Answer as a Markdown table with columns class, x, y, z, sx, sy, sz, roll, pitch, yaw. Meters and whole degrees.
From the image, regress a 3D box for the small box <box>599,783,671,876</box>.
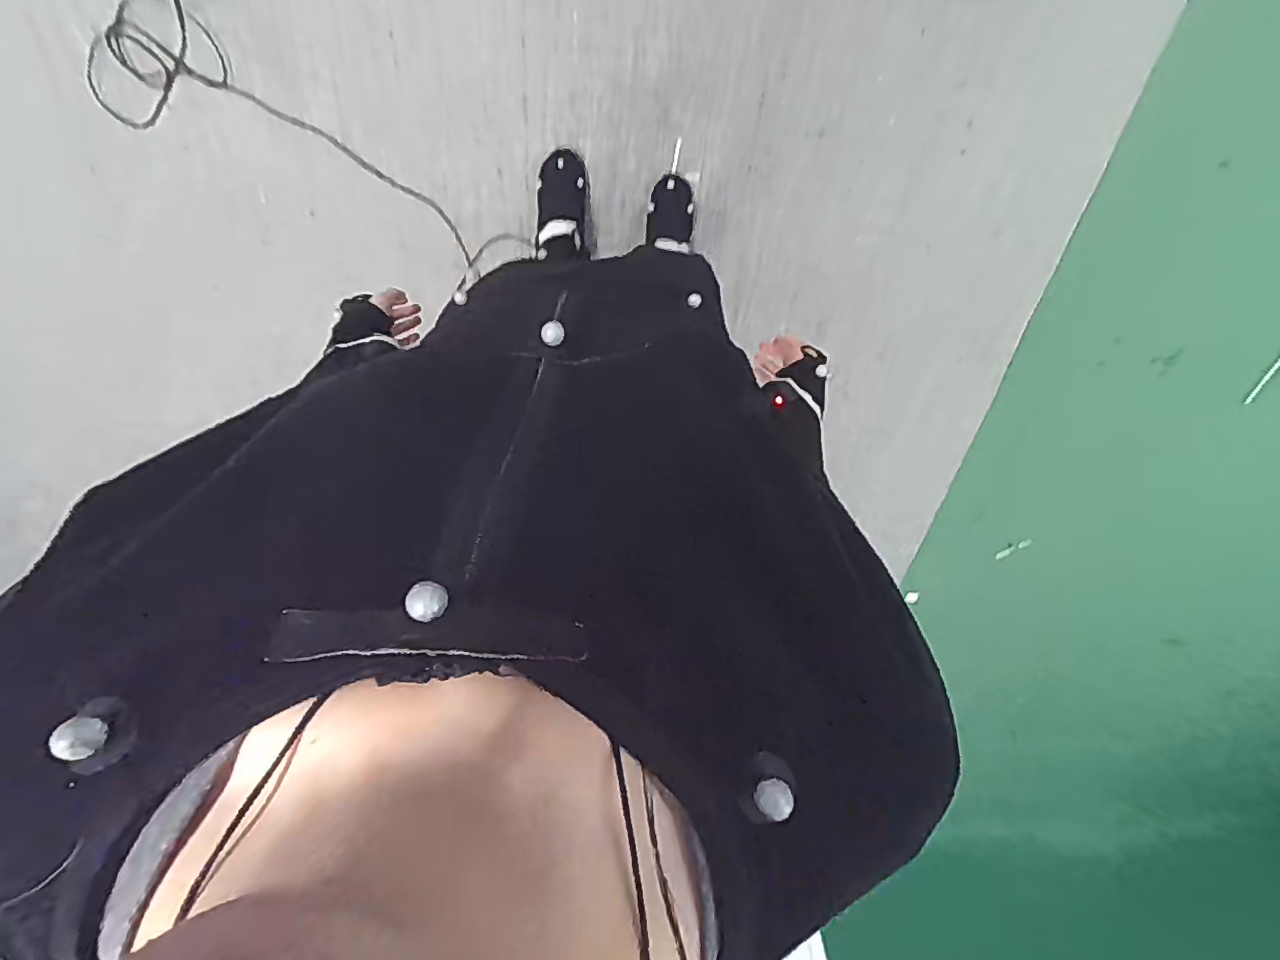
| class | x | y | z | sx | sy | sz | roll | pitch | yaw |
| --- | --- | --- | --- | --- | --- | --- | --- | --- | --- |
| small box | -0.018 | 0.965 | 1.498 | 0.179 | 0.176 | 0.168 | 4 | 124 | -5 |
